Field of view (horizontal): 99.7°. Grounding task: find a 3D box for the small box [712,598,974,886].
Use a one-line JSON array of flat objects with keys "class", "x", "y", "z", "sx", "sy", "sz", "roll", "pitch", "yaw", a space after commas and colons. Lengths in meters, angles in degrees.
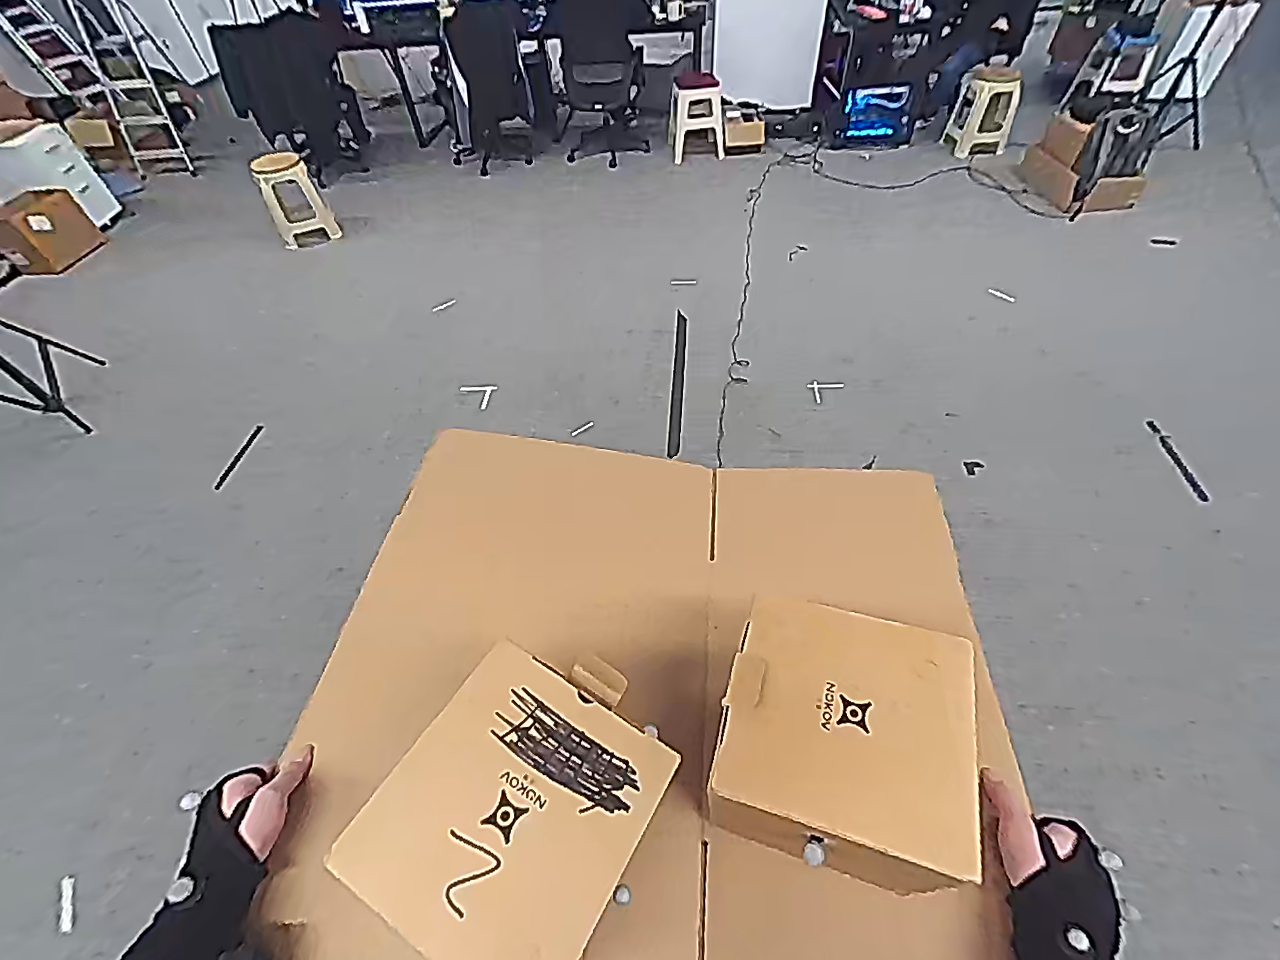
[{"class": "small box", "x": 0.169, "y": 0.232, "z": 0.479, "sx": 0.179, "sy": 0.176, "sz": 0.168, "roll": 10, "pitch": 53, "yaw": 17}]
